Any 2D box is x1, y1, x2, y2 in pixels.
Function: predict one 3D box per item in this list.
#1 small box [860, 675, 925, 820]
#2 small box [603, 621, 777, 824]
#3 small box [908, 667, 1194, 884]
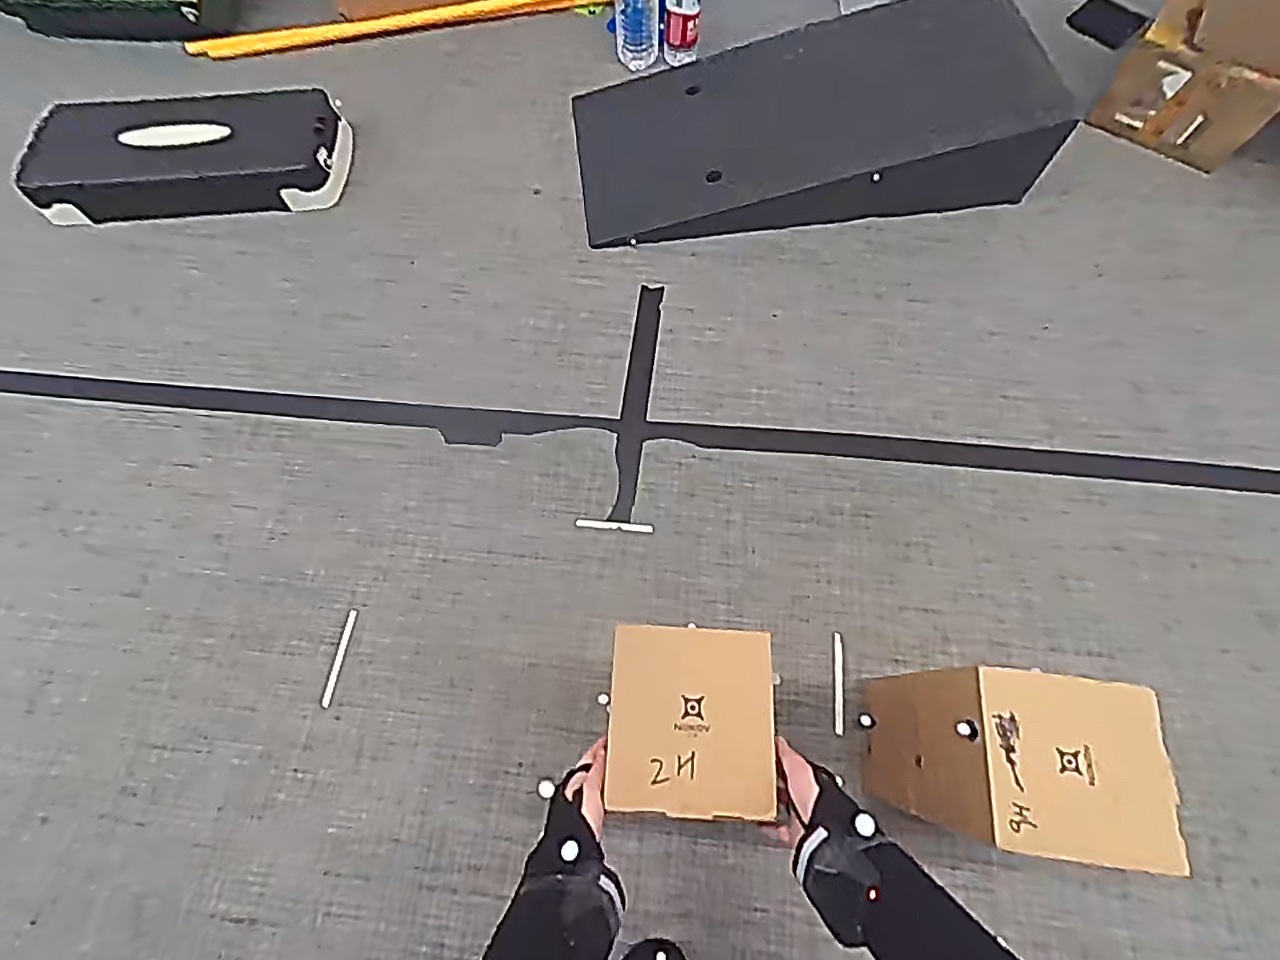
[{"bbox_3d":[0.422,0.369,0.739,0.179,0.176,0.168,8,68,4],"label":"small box"},{"bbox_3d":[0.050,0.263,0.606,0.168,0.176,0.179,3,68,1],"label":"small box"},{"bbox_3d":[0.420,0.305,0.589,0.179,0.176,0.168,7,67,3],"label":"small box"}]
